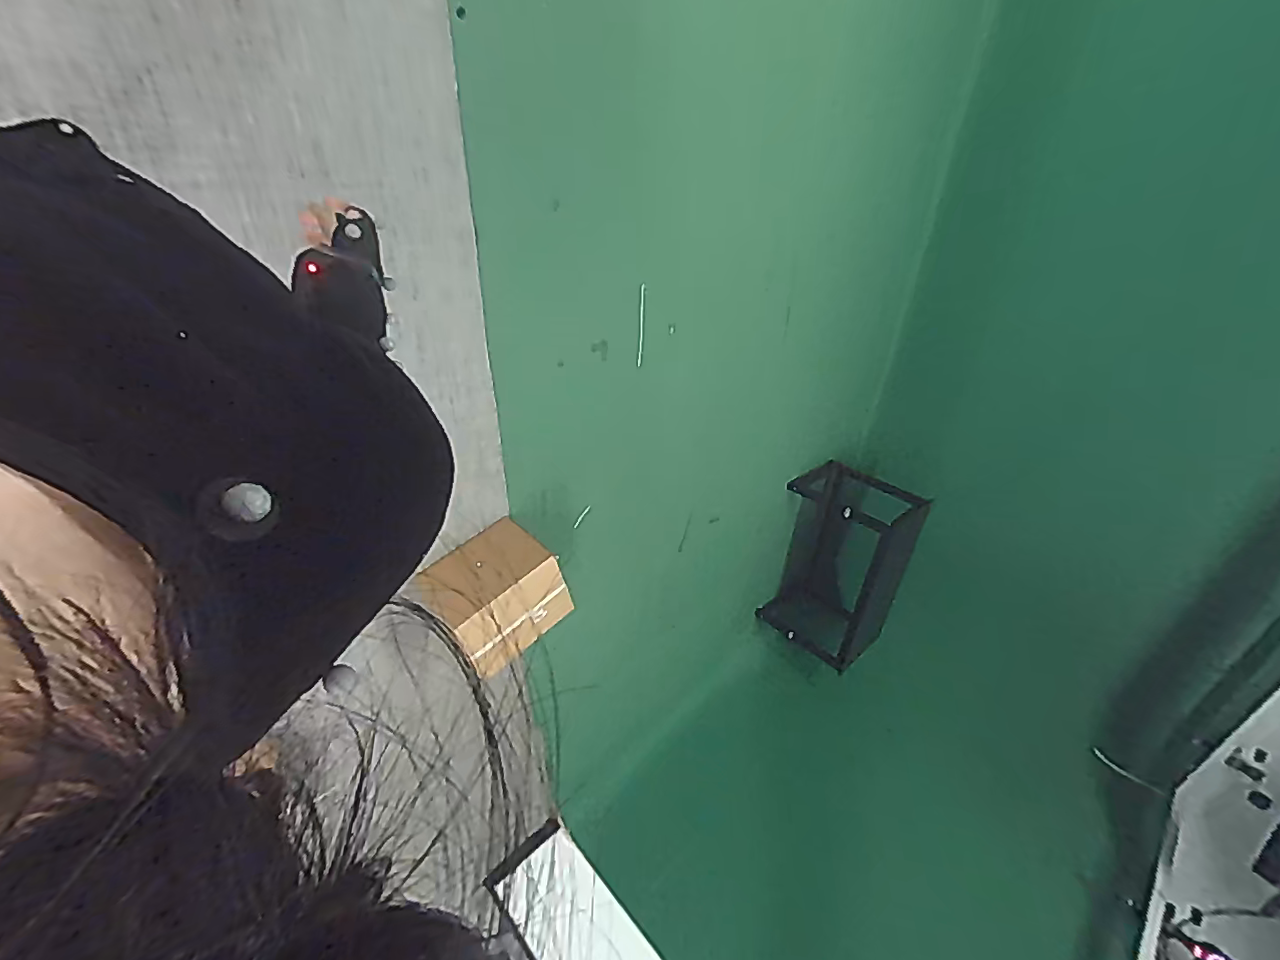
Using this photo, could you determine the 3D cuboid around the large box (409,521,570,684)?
[{"bbox_3d":[-0.525,0.422,1.925,0.408,0.320,0.320,-38,138,-28],"label":"large box"}]
